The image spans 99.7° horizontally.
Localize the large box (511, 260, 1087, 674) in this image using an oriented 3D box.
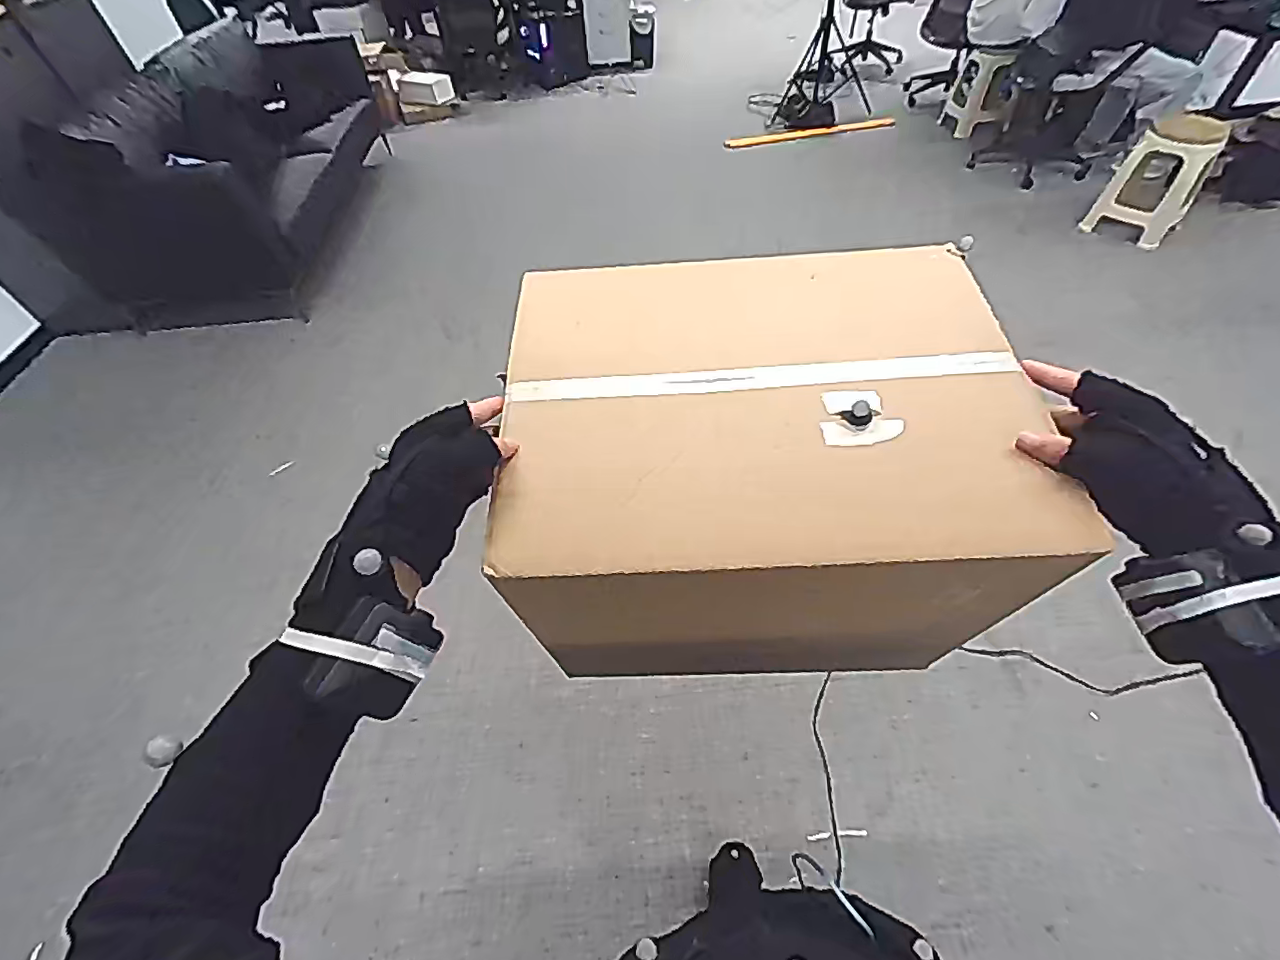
[{"bbox_3d":[0.107,0.005,0.572,0.408,0.320,0.320,-3,58,2],"label":"large box"}]
